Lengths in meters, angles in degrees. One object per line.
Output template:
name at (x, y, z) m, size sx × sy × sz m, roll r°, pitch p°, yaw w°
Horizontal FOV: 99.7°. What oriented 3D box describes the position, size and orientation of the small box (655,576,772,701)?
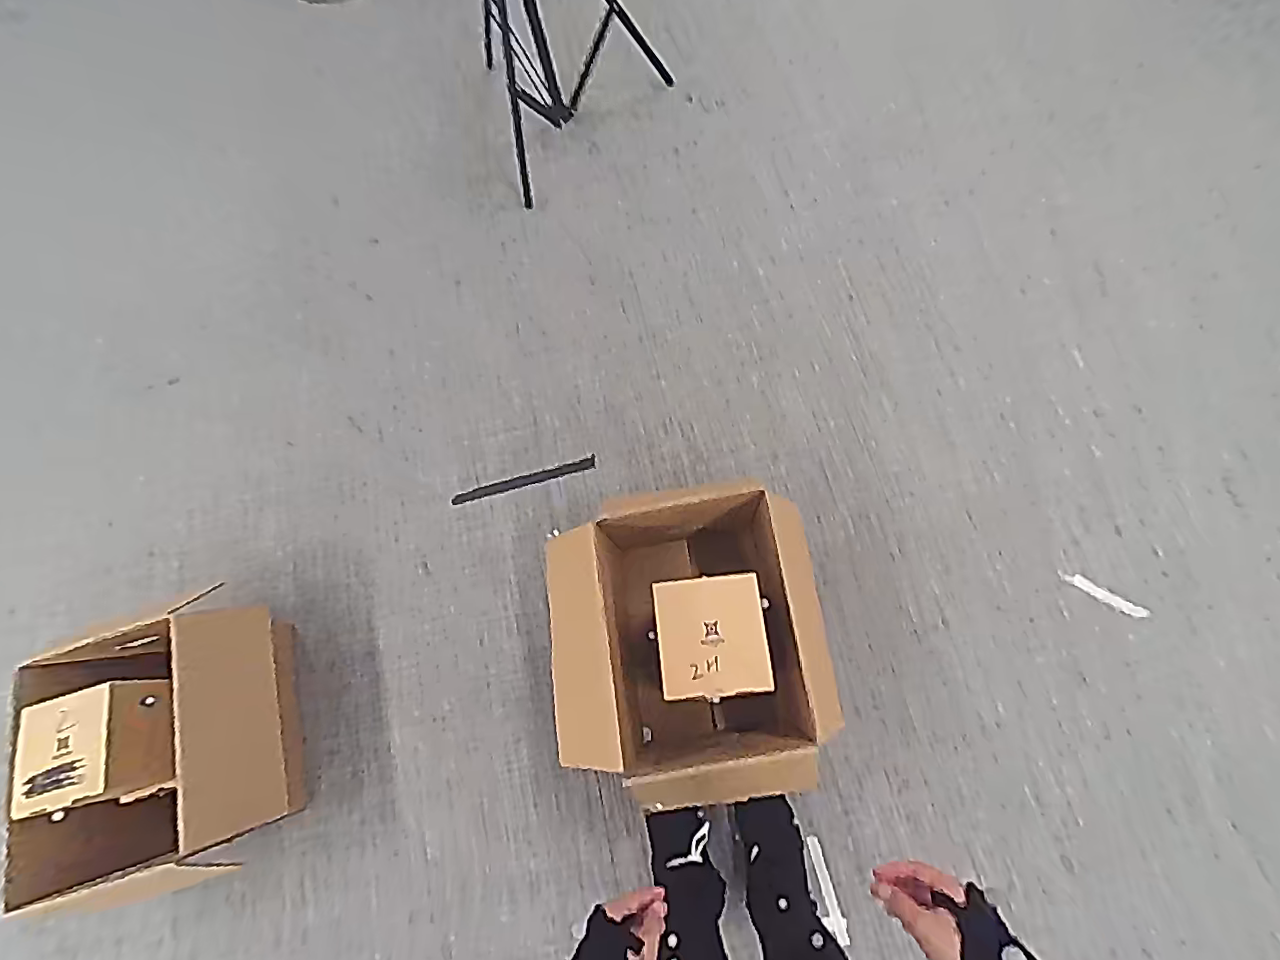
small box at (0.114, 0.268, 0.906) m, size 0.168 × 0.176 × 0.179 m, roll -6°, pitch 70°, yaw 2°
